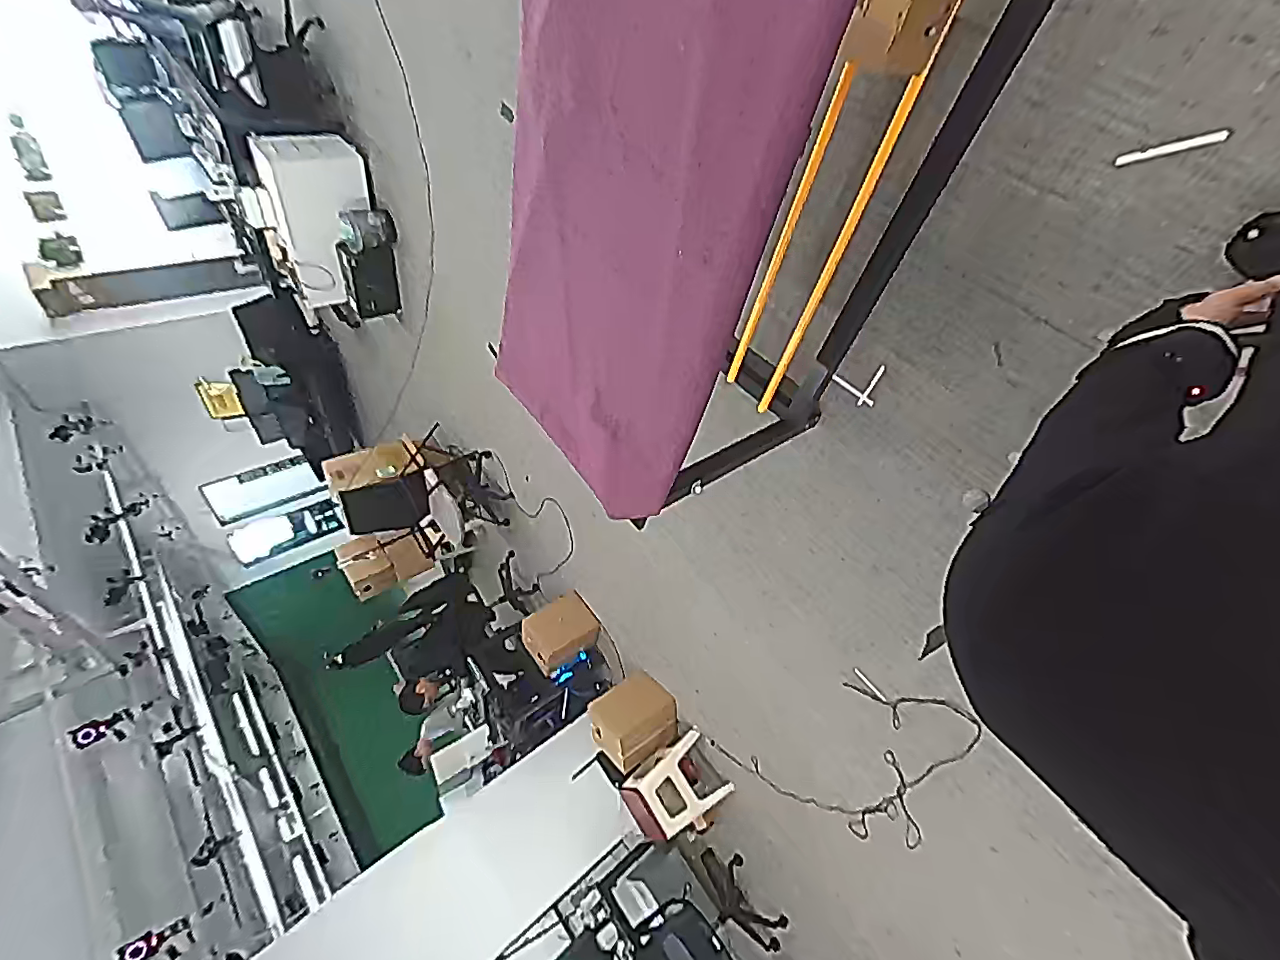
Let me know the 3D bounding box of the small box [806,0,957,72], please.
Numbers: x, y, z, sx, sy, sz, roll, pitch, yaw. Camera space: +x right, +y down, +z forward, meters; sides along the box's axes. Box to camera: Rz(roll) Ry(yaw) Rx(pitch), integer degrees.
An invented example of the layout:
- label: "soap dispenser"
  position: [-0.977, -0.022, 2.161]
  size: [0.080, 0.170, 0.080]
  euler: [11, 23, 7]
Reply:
- label: "small box"
  position: [0.445, -0.862, 0.980]
  size: [0.179, 0.176, 0.168]
  euler: [45, 144, 24]
